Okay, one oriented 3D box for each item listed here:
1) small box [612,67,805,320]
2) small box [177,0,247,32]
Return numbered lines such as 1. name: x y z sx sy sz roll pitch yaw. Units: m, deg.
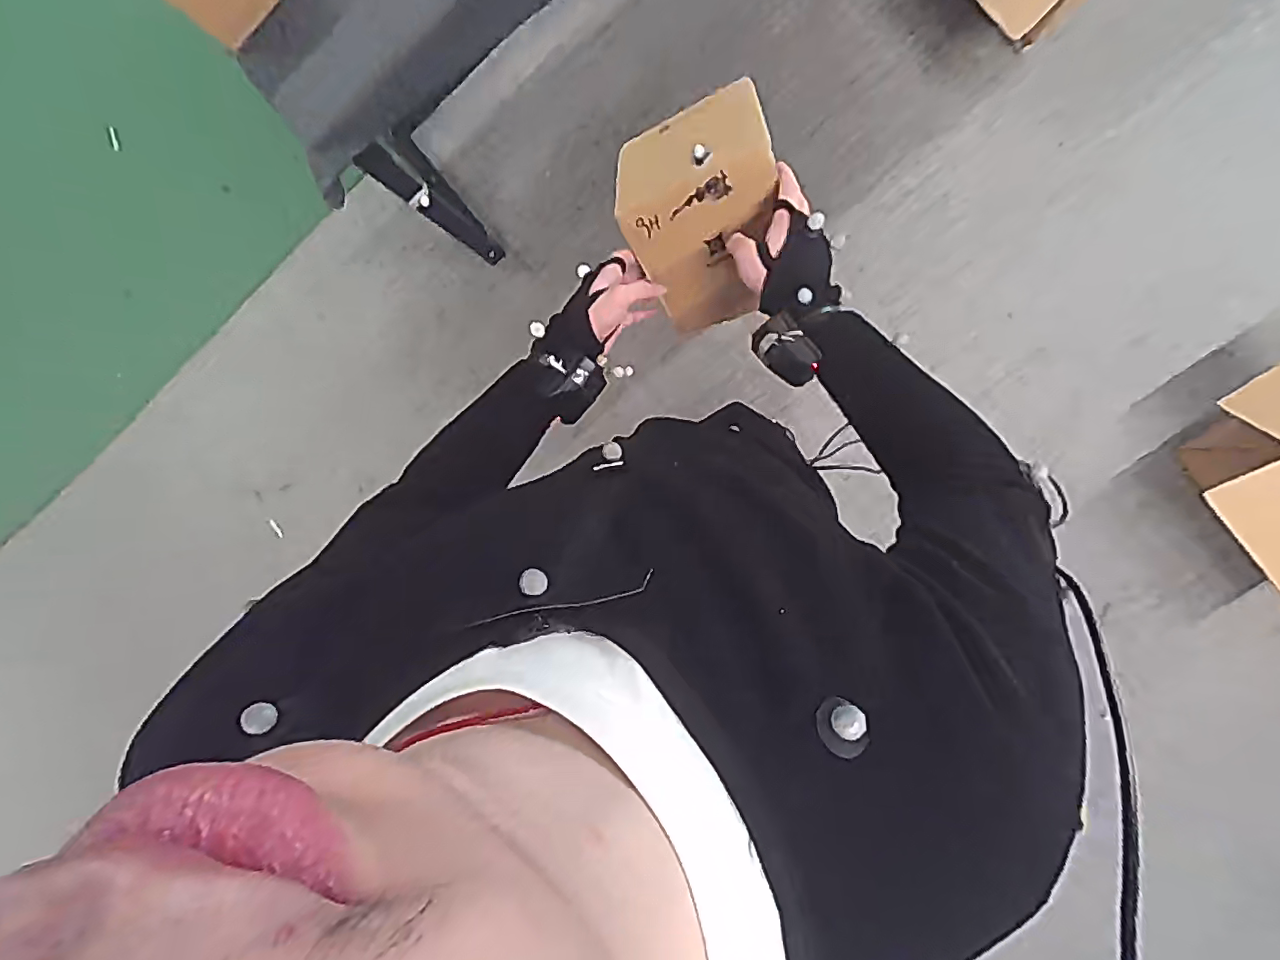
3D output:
1. small box: 0.085 -0.332 0.640 0.168 0.179 0.176 -16 49 24
2. small box: -0.668 -0.817 0.771 0.179 0.176 0.168 -42 88 9
